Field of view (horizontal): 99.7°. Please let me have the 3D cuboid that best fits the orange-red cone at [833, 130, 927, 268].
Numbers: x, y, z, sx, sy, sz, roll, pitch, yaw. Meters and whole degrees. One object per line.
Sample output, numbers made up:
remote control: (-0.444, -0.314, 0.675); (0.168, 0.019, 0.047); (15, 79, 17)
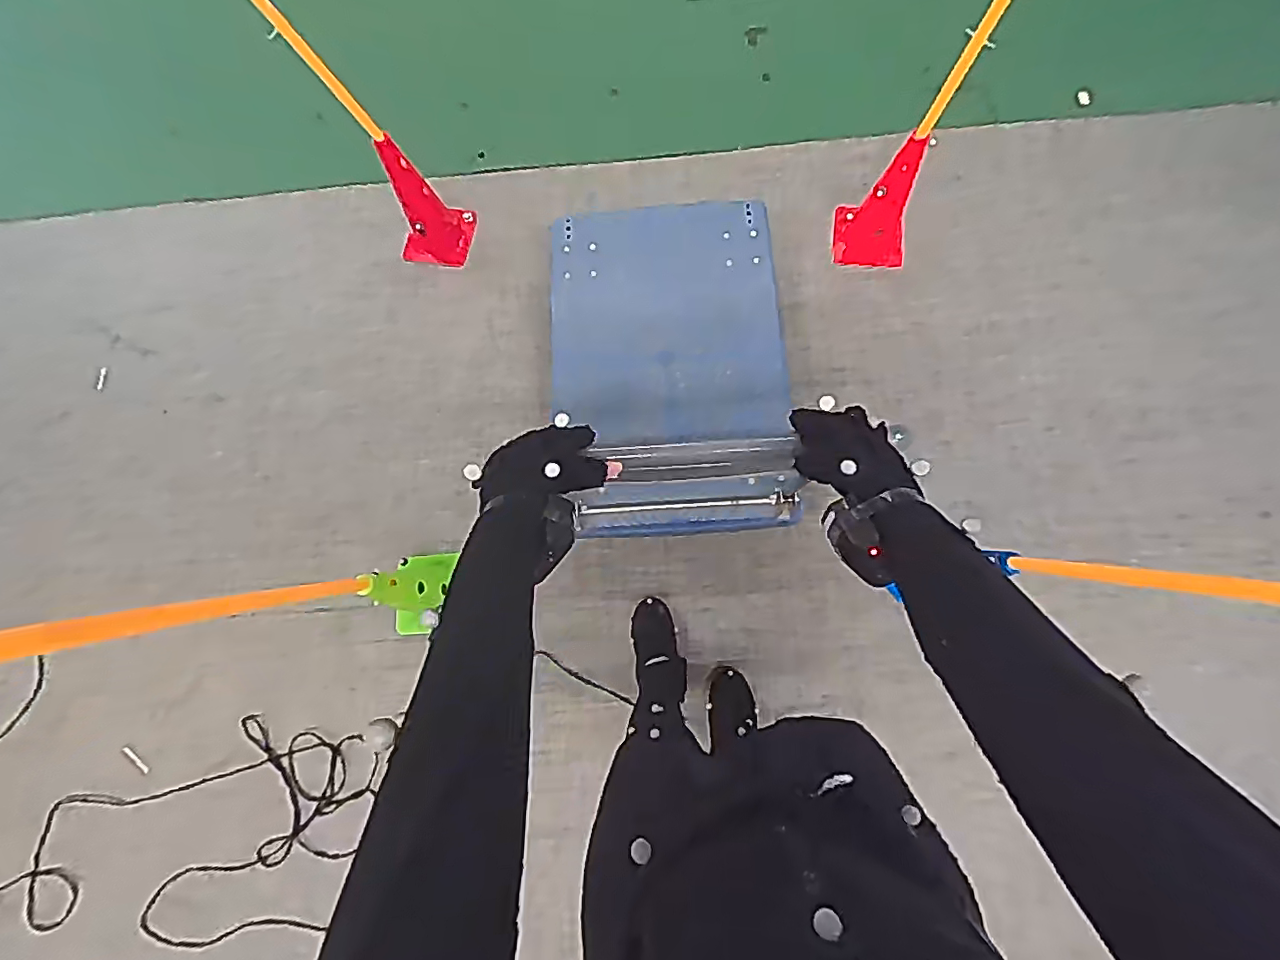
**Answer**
orange-red cone: (0.664, -0.754, 1.426); (0.198, 0.360, 0.199); (7, 77, 6)
